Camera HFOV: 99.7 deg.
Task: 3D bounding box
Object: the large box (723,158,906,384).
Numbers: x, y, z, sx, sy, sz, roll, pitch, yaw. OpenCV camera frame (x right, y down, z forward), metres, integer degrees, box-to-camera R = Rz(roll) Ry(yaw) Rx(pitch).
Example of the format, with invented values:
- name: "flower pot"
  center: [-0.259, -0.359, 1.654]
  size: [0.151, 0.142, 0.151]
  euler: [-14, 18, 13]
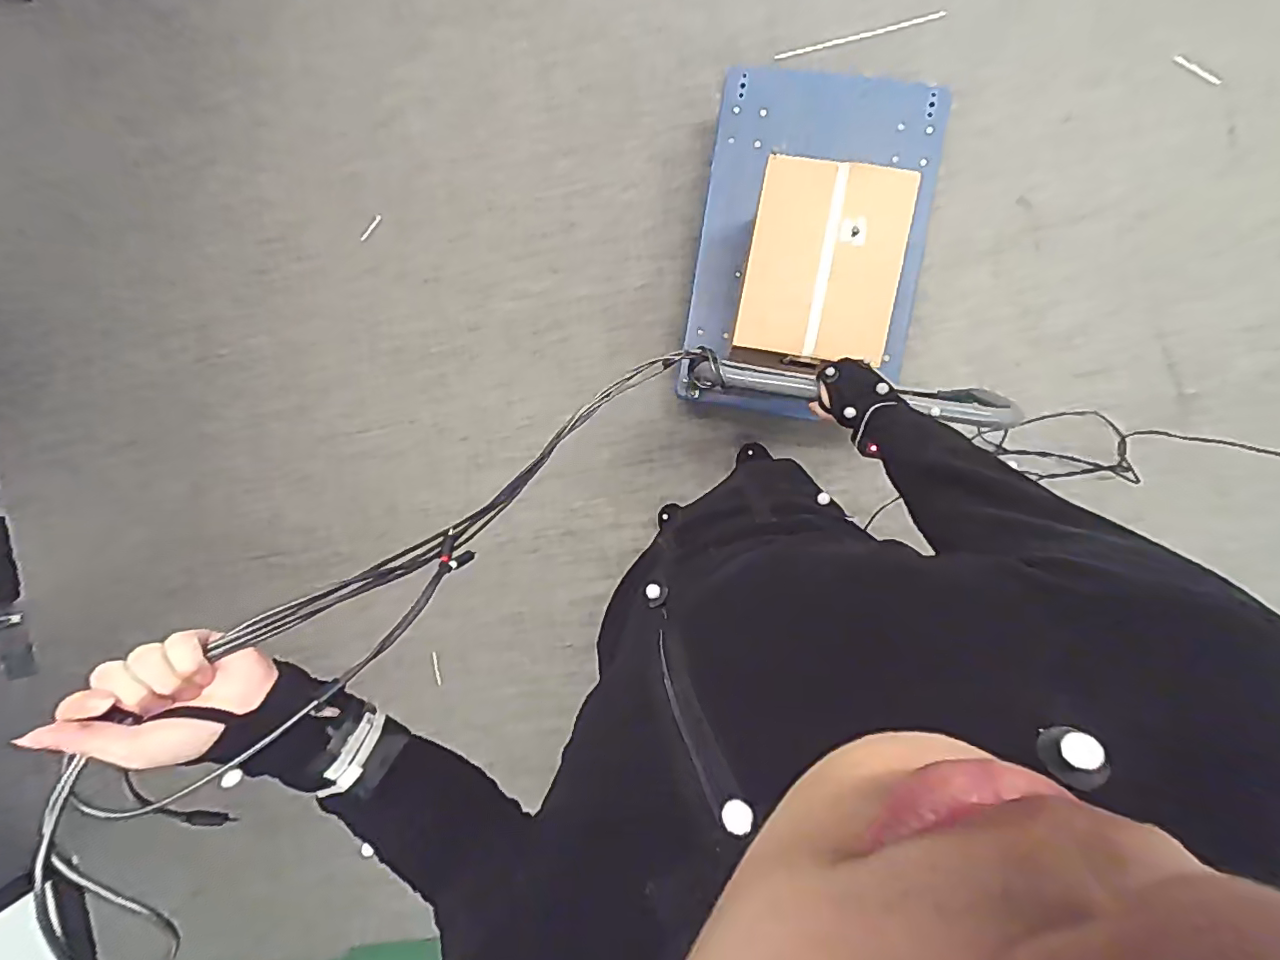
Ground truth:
- name: "large box"
  center: [0.384, -0.465, 1.285]
  size: [0.320, 0.320, 0.408]
  euler: [11, 93, 4]
